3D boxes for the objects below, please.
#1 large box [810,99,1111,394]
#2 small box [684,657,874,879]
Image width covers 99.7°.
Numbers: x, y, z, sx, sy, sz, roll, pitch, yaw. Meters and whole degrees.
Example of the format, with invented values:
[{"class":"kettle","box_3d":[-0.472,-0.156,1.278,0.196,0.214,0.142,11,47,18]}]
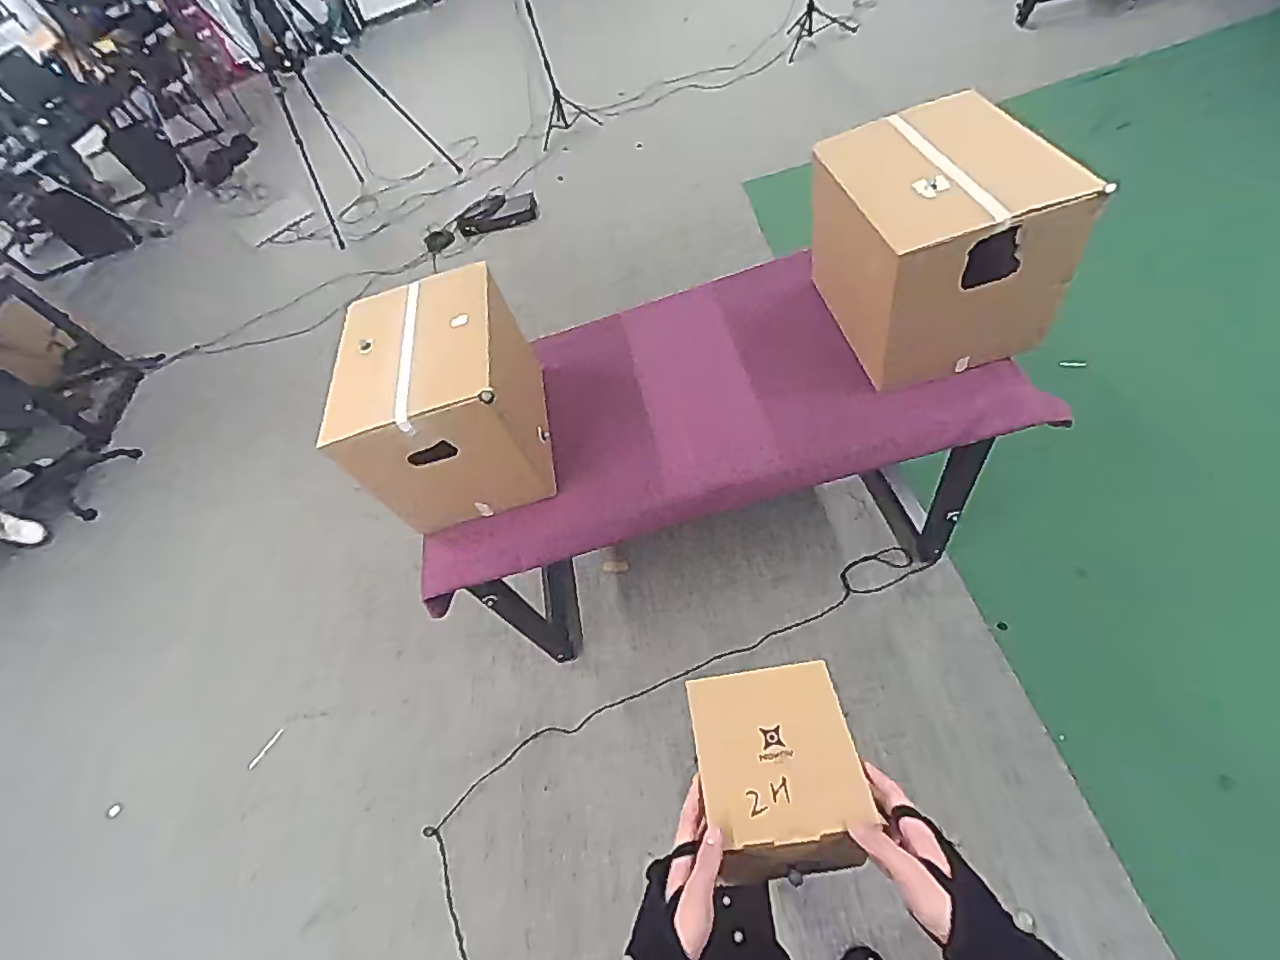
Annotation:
[{"class":"large box","box_3d":[0.546,-0.441,1.037,0.320,0.320,0.408,-16,54,7]},{"class":"small box","box_3d":[0.149,0.335,0.630,0.168,0.176,0.179,-10,44,4]}]
